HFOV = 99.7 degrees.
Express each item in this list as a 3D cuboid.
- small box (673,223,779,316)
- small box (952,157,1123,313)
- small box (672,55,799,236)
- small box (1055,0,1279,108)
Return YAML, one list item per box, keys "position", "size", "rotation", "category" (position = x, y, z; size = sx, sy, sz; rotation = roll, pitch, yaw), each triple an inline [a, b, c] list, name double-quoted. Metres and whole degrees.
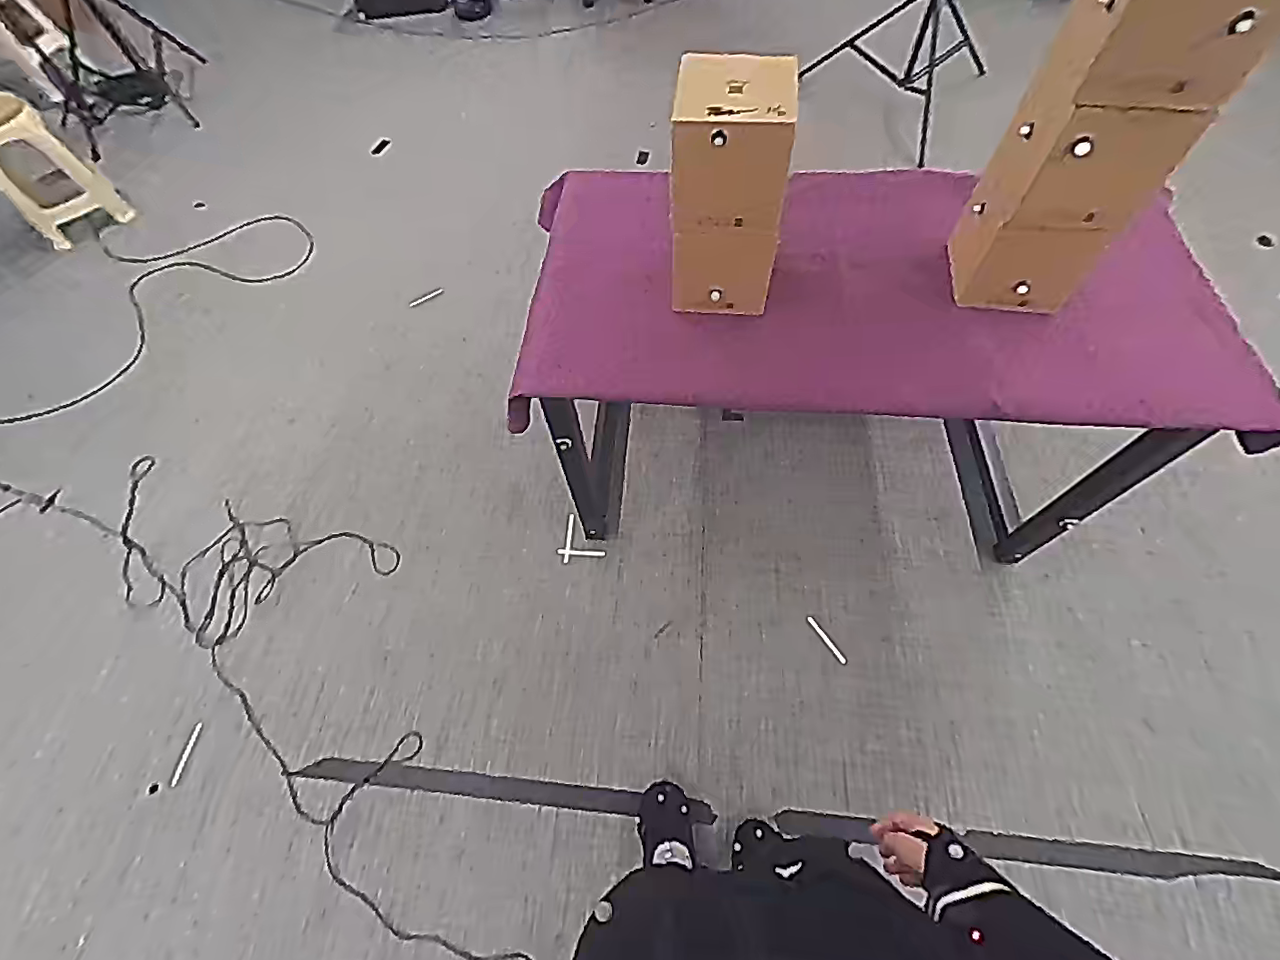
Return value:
- position: [0.147, -0.416, 0.950]
  size: [0.168, 0.176, 0.179]
  rotation: [4, 62, 6]
  category: "small box"
- position: [0.654, -0.413, 0.918]
  size: [0.168, 0.176, 0.179]
  rotation: [7, 62, 8]
  category: "small box"
- position: [0.138, -0.495, 0.807]
  size: [0.168, 0.176, 0.179]
  rotation: [5, 61, 6]
  category: "small box"
- position: [0.631, -0.567, 0.630]
  size: [0.168, 0.176, 0.179]
  rotation: [10, 61, 8]
  category: "small box"
